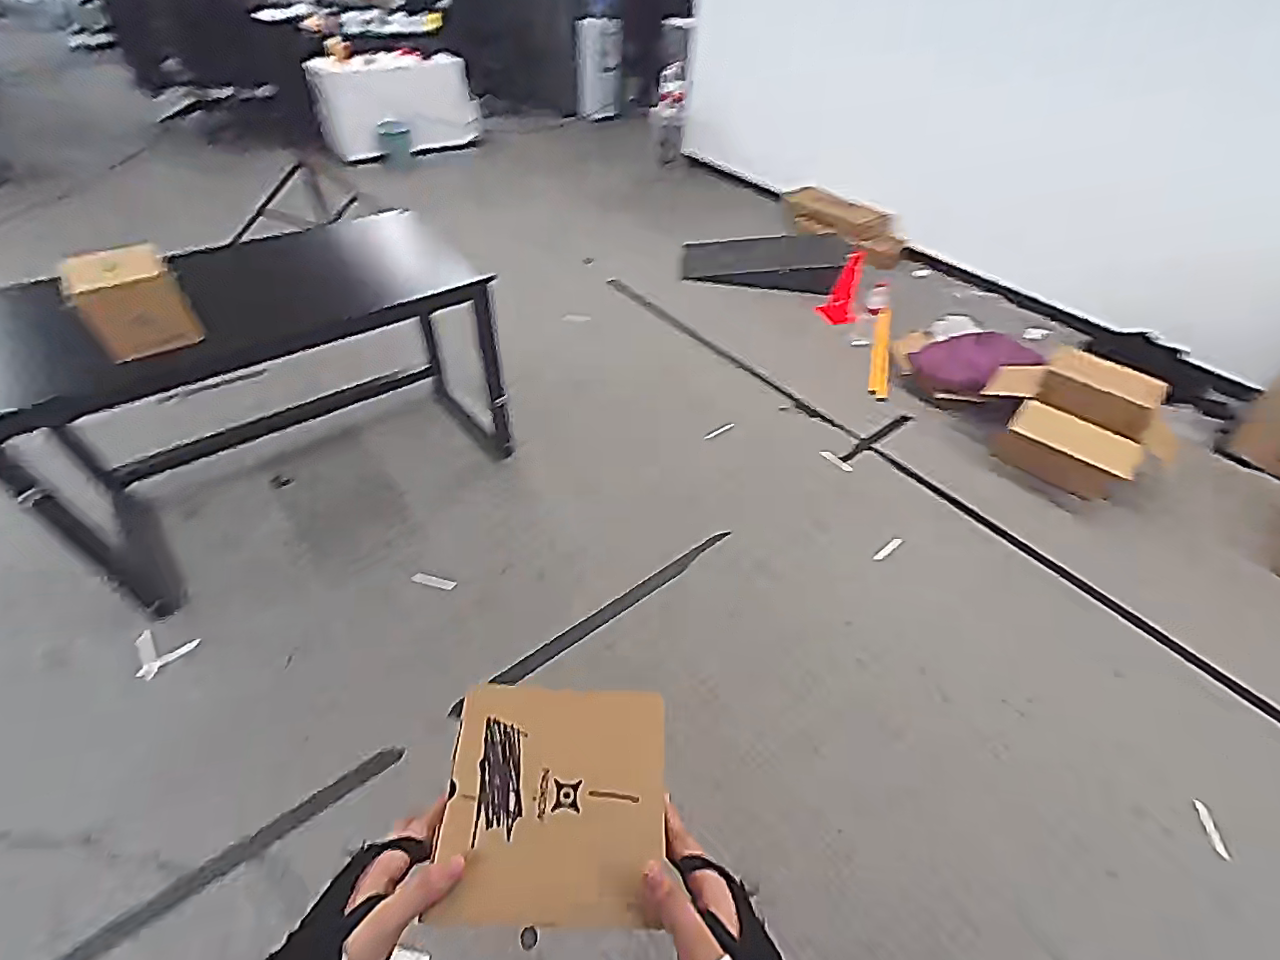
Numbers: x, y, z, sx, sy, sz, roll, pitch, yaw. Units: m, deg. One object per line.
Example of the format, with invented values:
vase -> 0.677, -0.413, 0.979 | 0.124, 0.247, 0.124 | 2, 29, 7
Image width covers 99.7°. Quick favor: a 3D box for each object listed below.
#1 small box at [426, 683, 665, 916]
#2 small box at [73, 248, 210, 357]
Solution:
small box -> -0.072, 0.298, 0.502 | 0.179, 0.176, 0.168 | 2, 53, -3
small box -> -1.132, -0.400, 1.238 | 0.168, 0.176, 0.179 | -29, 55, -29
